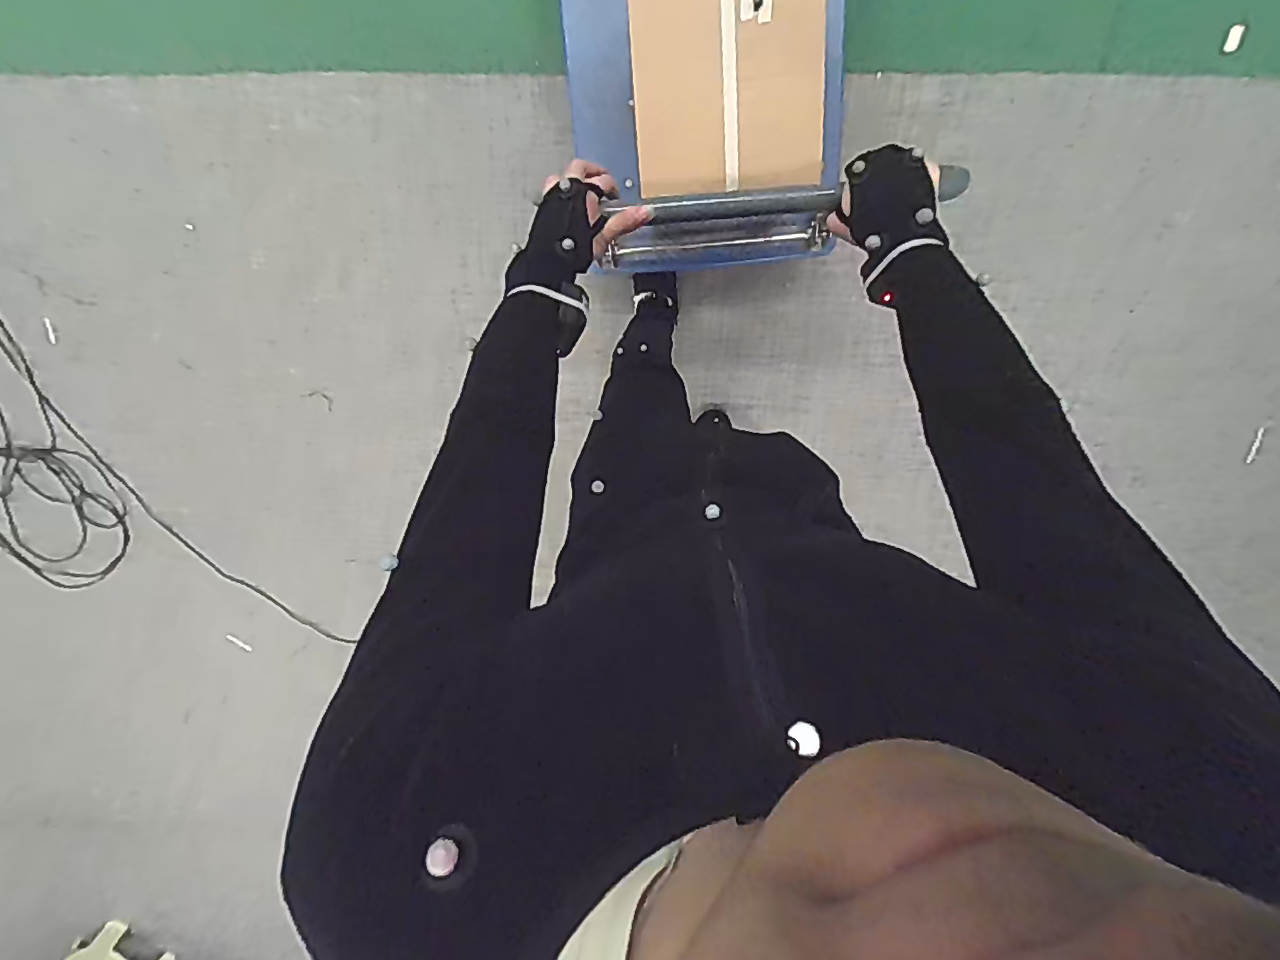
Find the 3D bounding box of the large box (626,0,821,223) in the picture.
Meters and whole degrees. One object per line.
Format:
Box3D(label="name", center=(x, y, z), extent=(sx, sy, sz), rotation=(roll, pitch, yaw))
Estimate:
Box3D(label="large box", center=(0.151, -0.740, 1.028), extent=(0.320, 0.320, 0.408), rotation=(-4, 109, 4))
